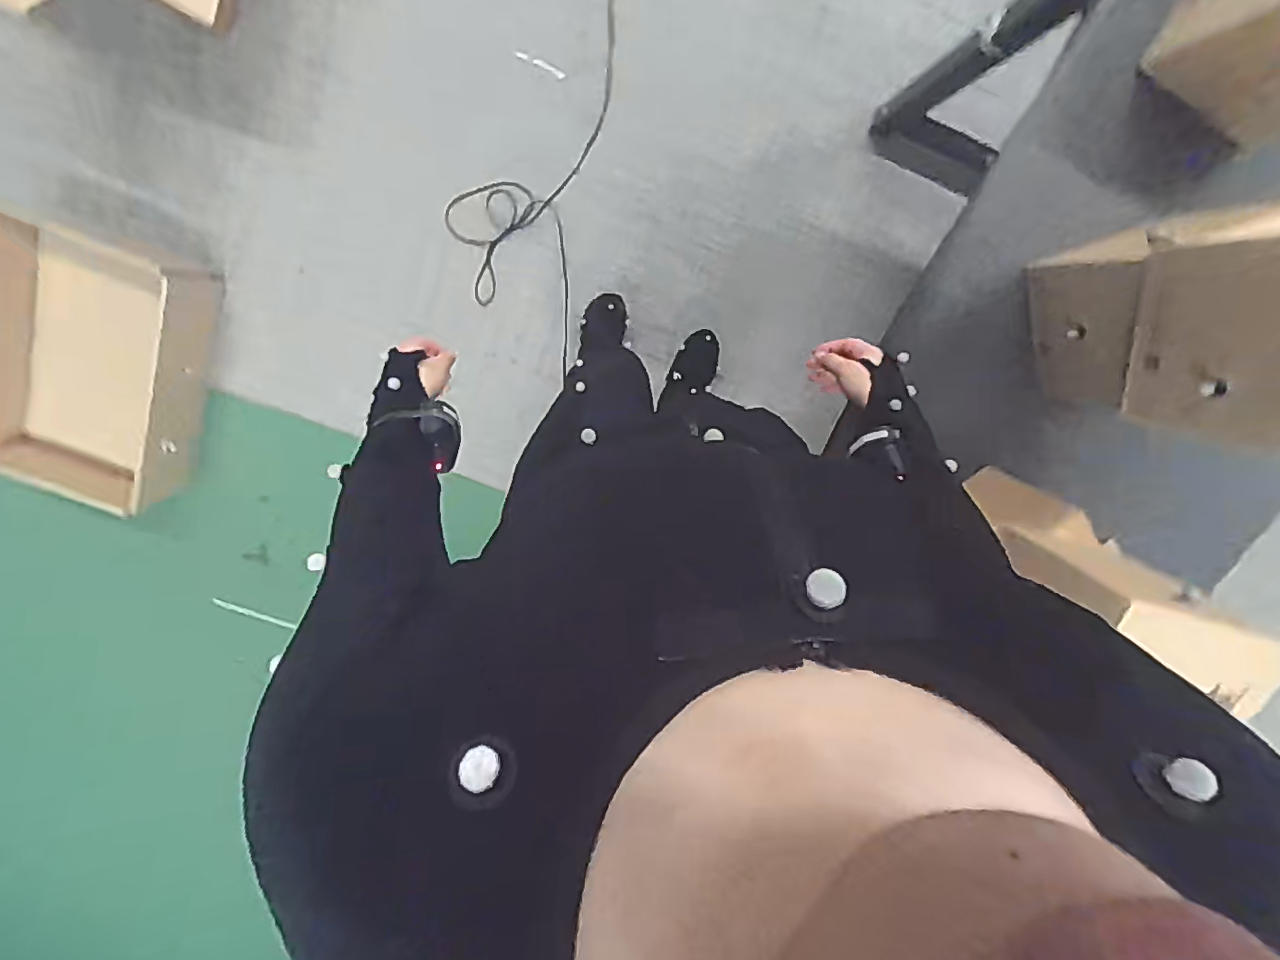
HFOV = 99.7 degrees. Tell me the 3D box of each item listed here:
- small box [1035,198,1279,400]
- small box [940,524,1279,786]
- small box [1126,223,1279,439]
[{"bbox_3d":[0.579,-0.193,0.602,0.179,0.176,0.168,-18,108,4],"label":"small box"},{"bbox_3d":[0.452,0.161,0.541,0.179,0.176,0.168,16,106,-7],"label":"small box"},{"bbox_3d":[0.569,-0.131,0.452,0.179,0.176,0.168,-7,109,0],"label":"small box"}]
